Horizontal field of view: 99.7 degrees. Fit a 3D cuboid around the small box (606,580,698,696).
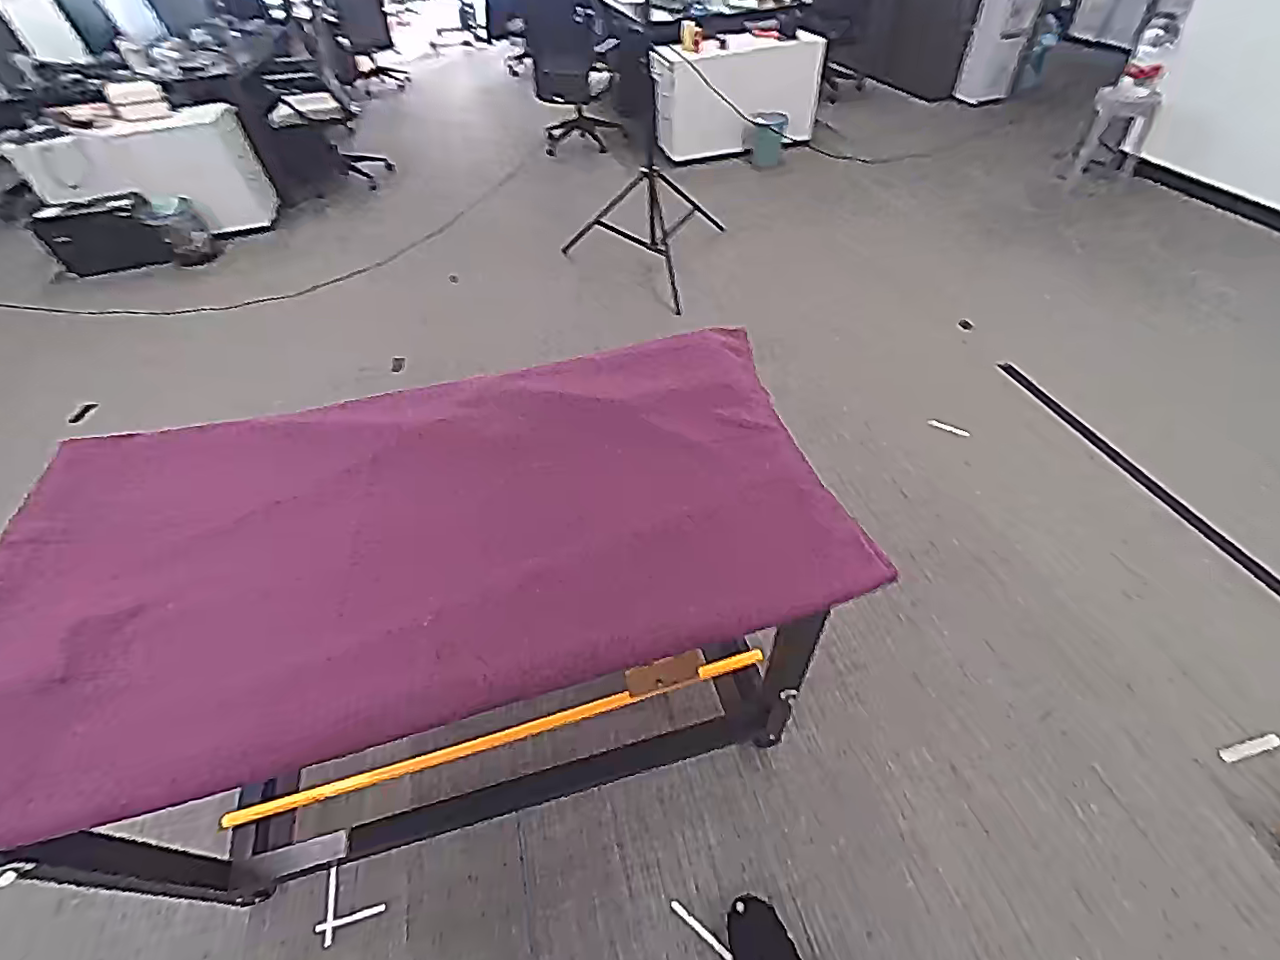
[{"bbox_3d":[0.025,0.361,1.232,0.168,0.176,0.179,-15,50,-7],"label":"small box"}]
